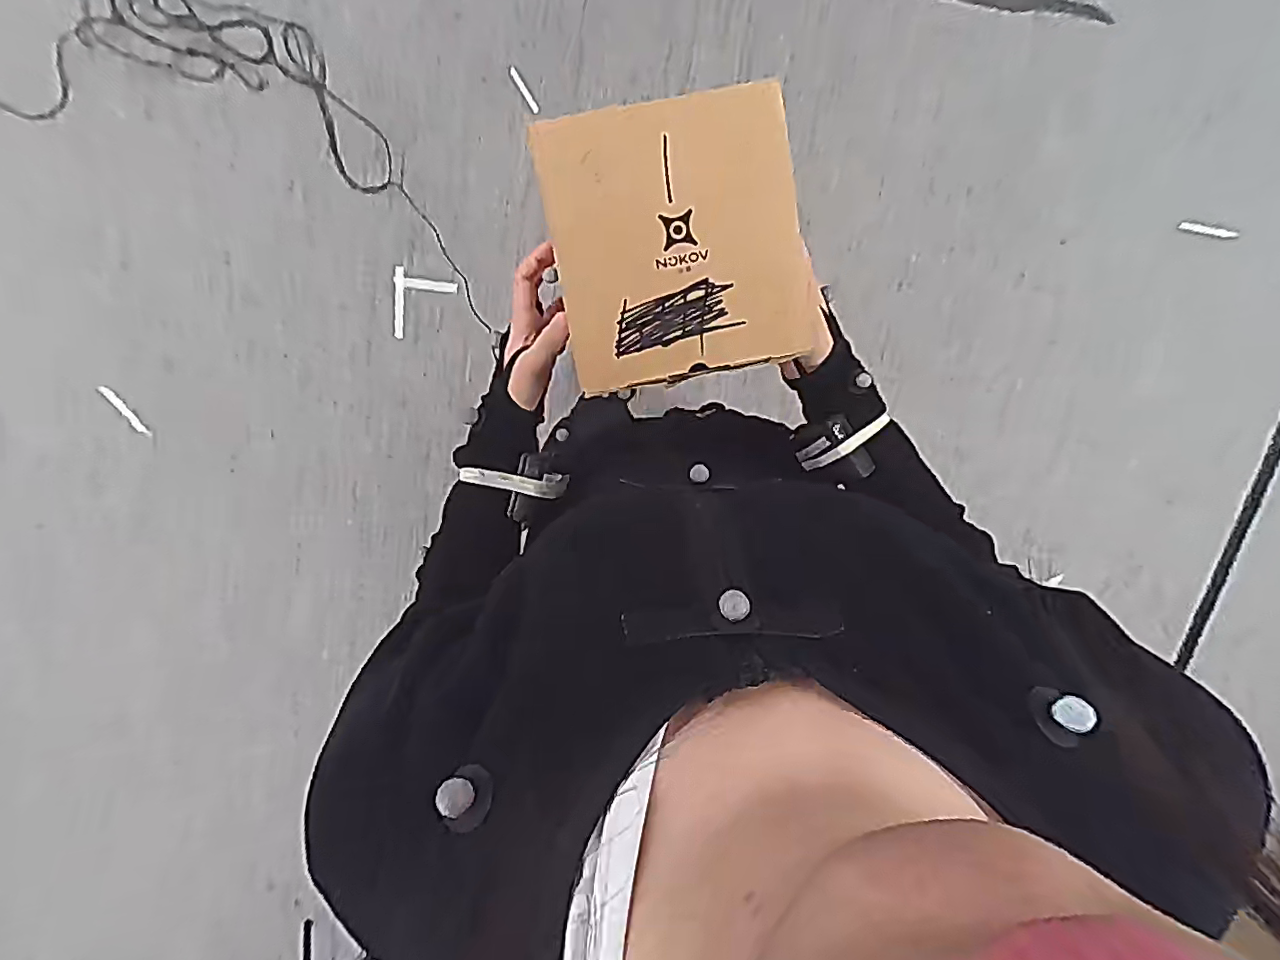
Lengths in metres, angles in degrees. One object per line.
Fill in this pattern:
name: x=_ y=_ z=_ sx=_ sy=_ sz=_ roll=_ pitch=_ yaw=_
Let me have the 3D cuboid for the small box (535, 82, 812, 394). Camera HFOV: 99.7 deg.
small box: x=0.022 y=-0.172 z=0.436 sx=0.168 sy=0.176 sz=0.179 roll=-10 pitch=101 yaw=-2
